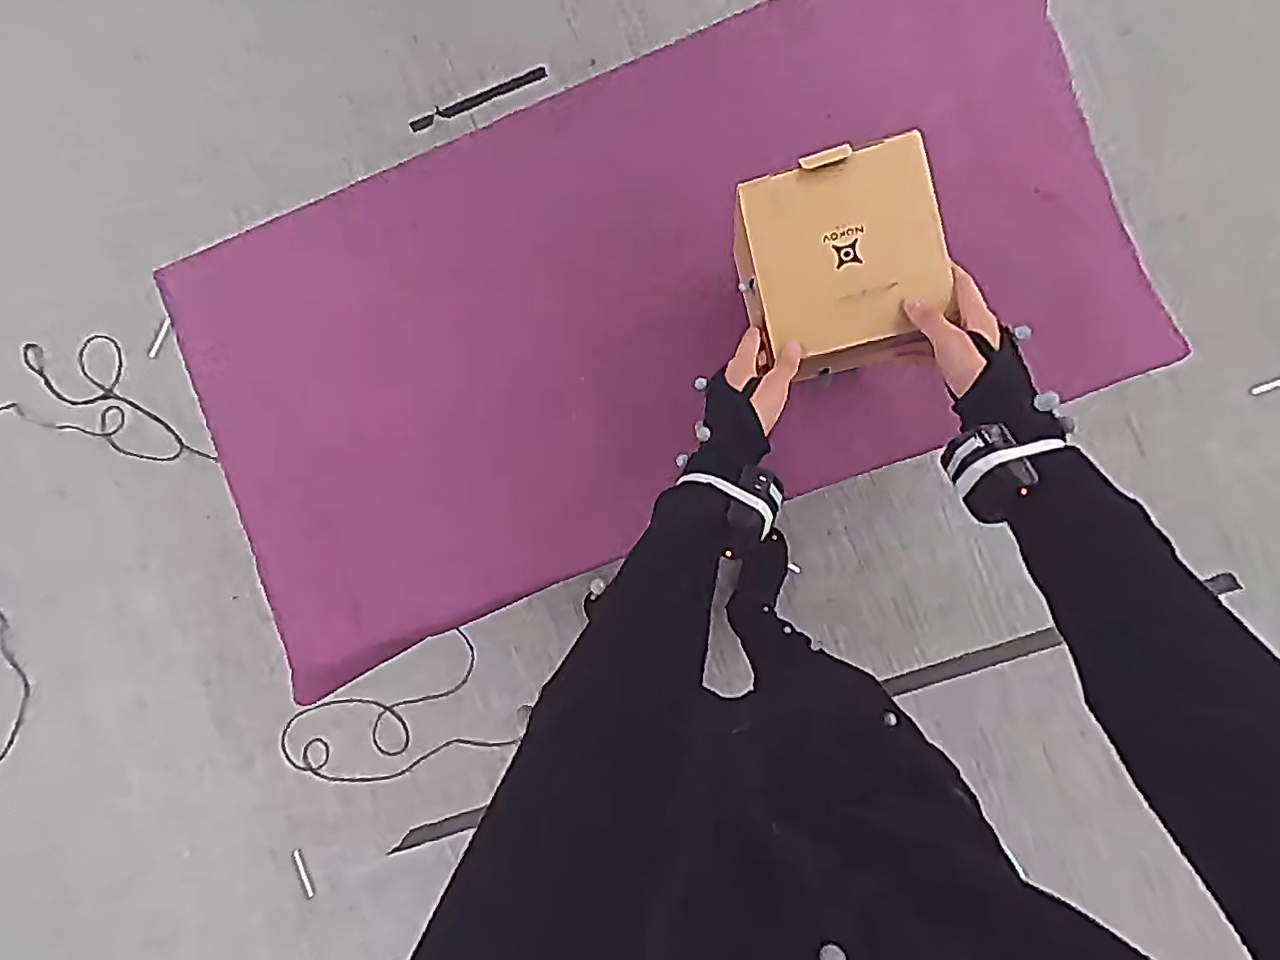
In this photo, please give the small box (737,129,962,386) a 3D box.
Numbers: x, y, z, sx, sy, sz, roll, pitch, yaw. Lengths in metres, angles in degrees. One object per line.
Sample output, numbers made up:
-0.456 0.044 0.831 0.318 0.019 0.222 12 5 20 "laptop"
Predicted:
0.197 -0.209 0.561 0.168 0.176 0.179 -12 90 10 "small box"
